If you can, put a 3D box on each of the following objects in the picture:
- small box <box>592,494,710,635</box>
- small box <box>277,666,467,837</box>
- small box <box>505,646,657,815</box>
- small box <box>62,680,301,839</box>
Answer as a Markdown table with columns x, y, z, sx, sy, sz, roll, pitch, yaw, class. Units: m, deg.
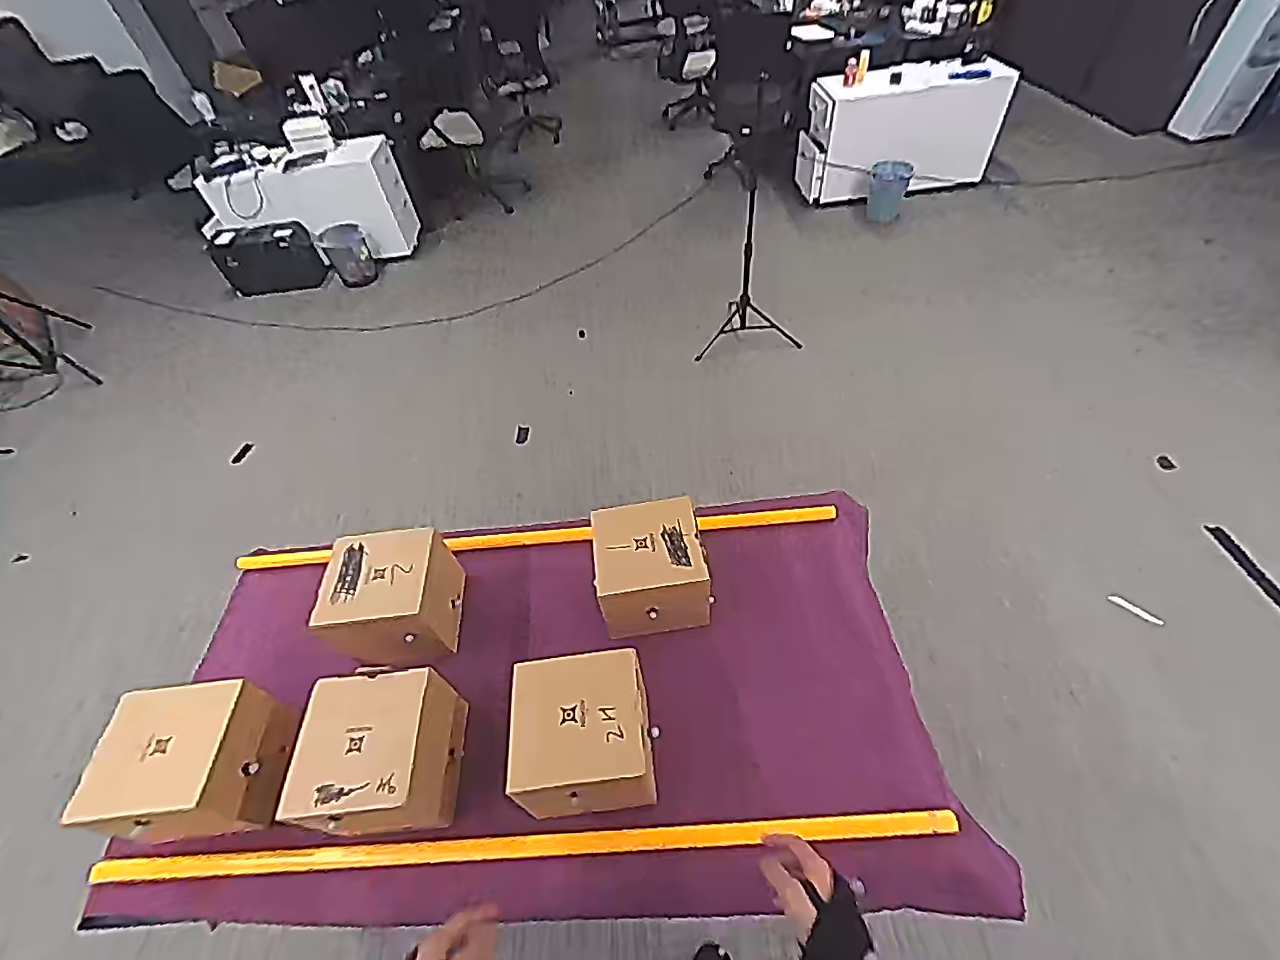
| x | y | z | sx | sy | sz | roll | pitch | yaw | class |
| --- | --- | --- | --- | --- | --- | --- | --- | --- | --- |
| 0.020 | 0.149 | 0.926 | 0.179 | 0.176 | 0.168 | -9 | 51 | 1 | small box |
| -0.361 | 0.389 | 0.772 | 0.168 | 0.176 | 0.179 | -8 | 49 | 3 | small box |
| -0.076 | 0.357 | 0.763 | 0.179 | 0.176 | 0.168 | -8 | 48 | 1 | small box |
| -0.641 | 0.411 | 0.790 | 0.179 | 0.176 | 0.168 | -7 | 49 | 0 | small box |
